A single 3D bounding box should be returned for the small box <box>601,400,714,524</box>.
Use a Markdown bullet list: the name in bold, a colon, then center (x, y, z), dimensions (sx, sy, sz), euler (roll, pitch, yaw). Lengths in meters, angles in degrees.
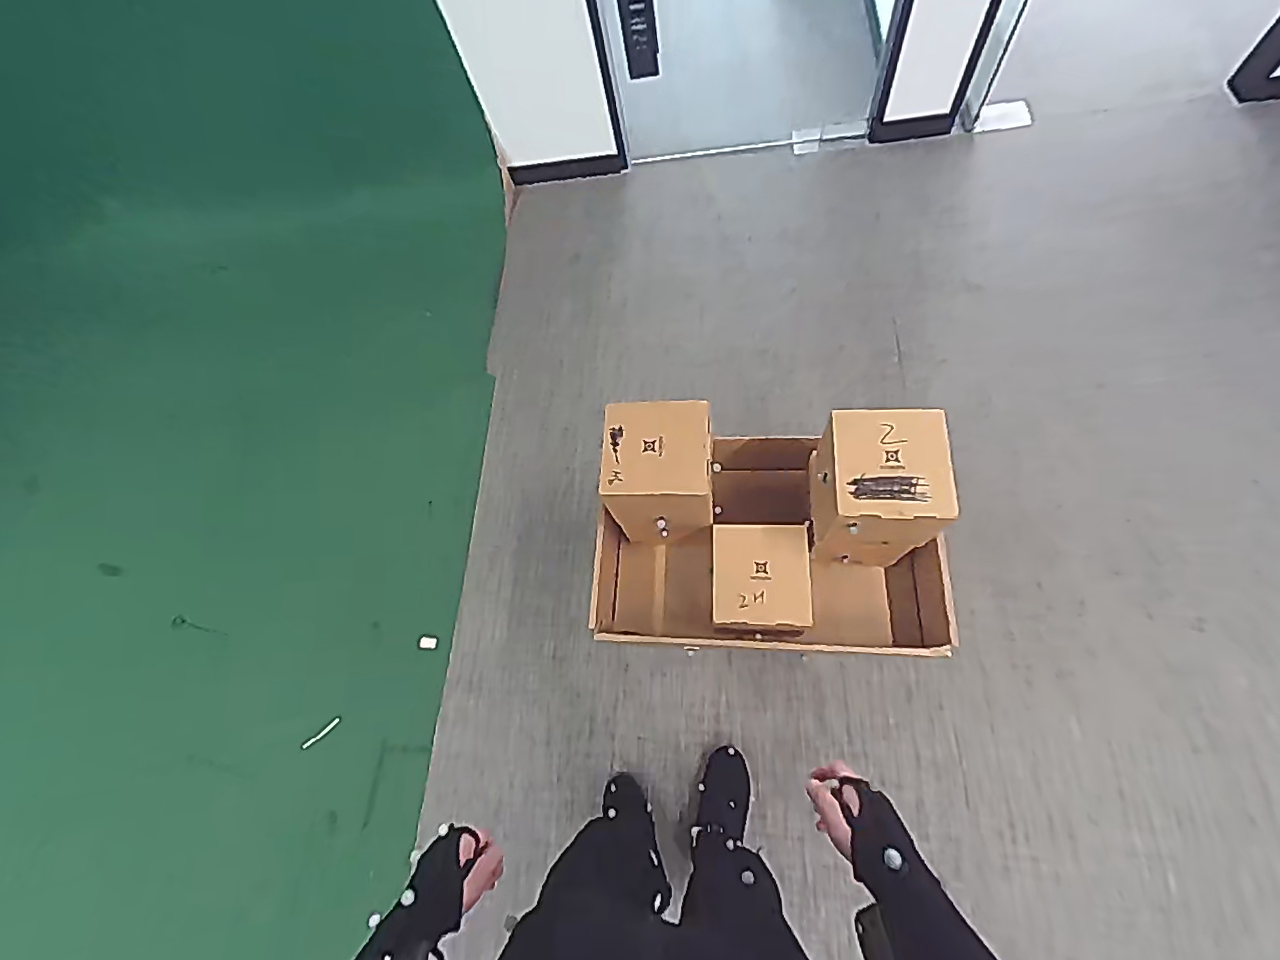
- **small box**: center (0.039, -0.026, 0.941), dimensions (0.179, 0.176, 0.168), euler (1, 69, 9)
